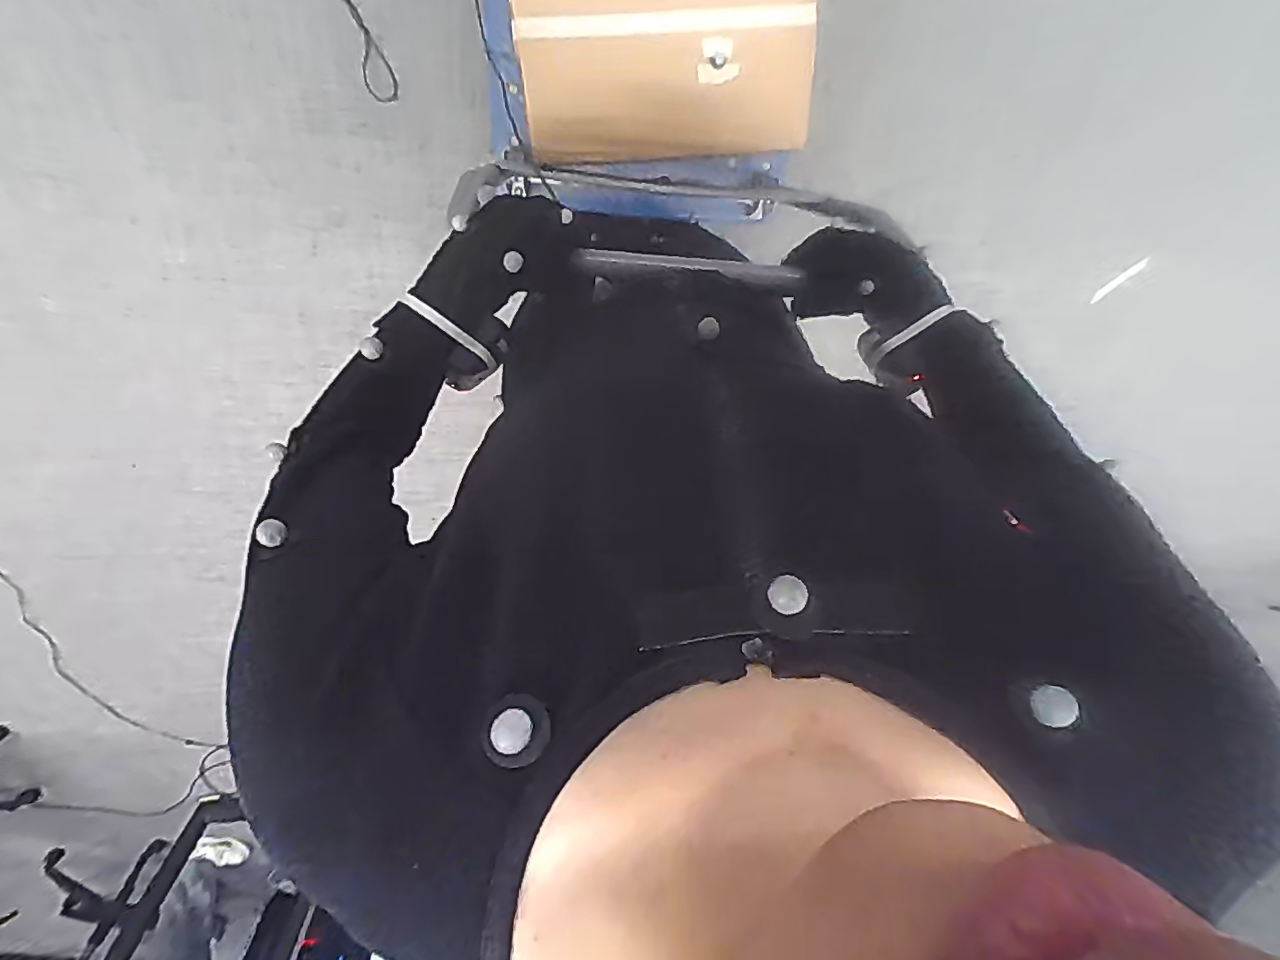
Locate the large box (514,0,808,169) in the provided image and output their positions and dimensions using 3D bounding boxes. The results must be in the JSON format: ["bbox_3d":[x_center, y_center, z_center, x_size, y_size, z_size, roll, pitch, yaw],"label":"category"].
[{"bbox_3d":[0.017,-0.692,0.865,0.408,0.320,0.320,-6,120,-4],"label":"large box"}]
